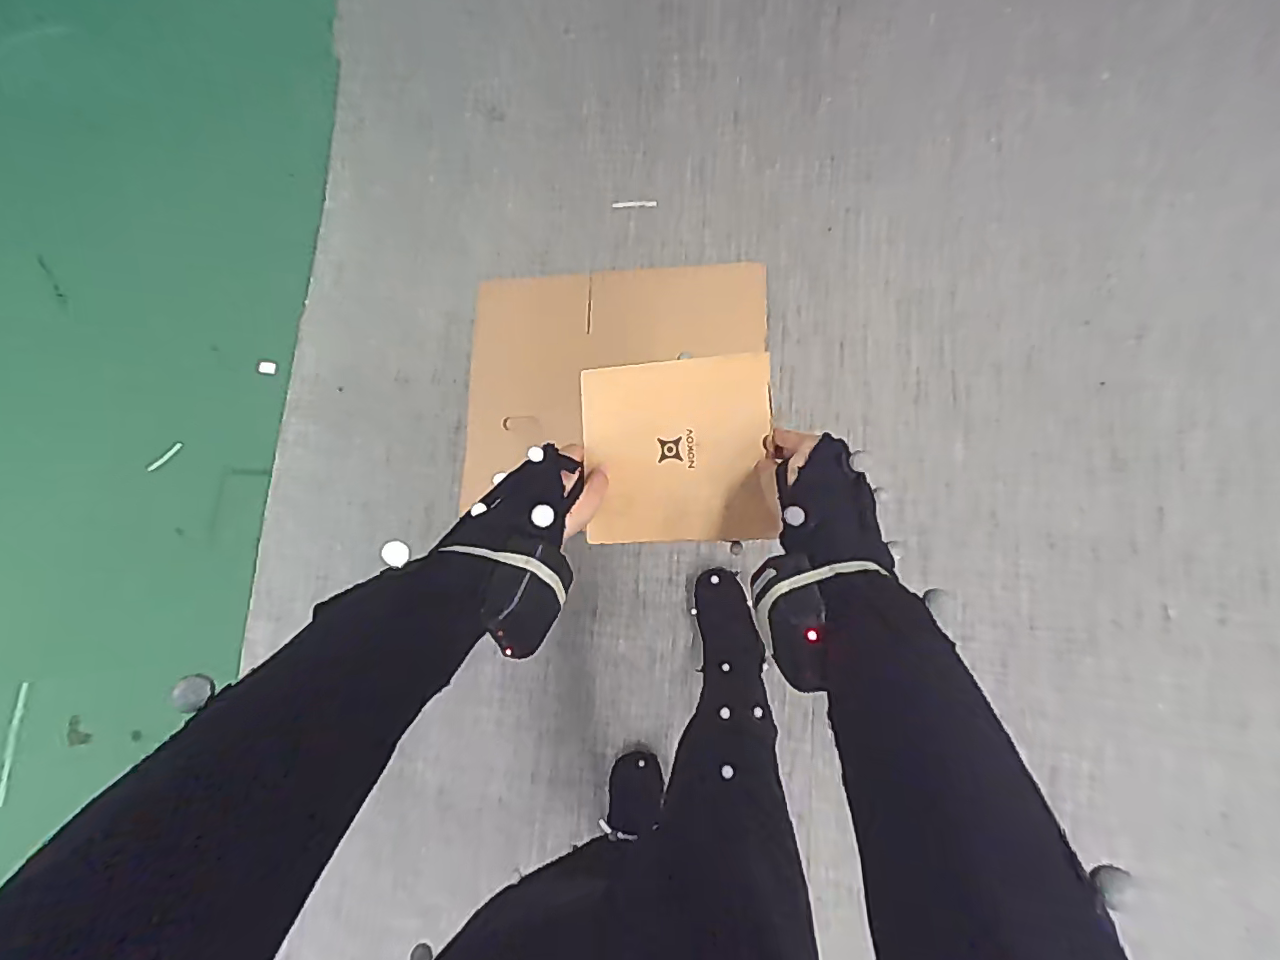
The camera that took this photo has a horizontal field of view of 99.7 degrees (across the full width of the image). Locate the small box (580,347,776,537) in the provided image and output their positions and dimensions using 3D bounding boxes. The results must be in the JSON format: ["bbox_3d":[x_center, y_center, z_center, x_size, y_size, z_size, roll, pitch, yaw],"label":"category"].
[{"bbox_3d":[0.048,-0.025,0.565,0.179,0.176,0.168,-4,85,13],"label":"small box"}]
